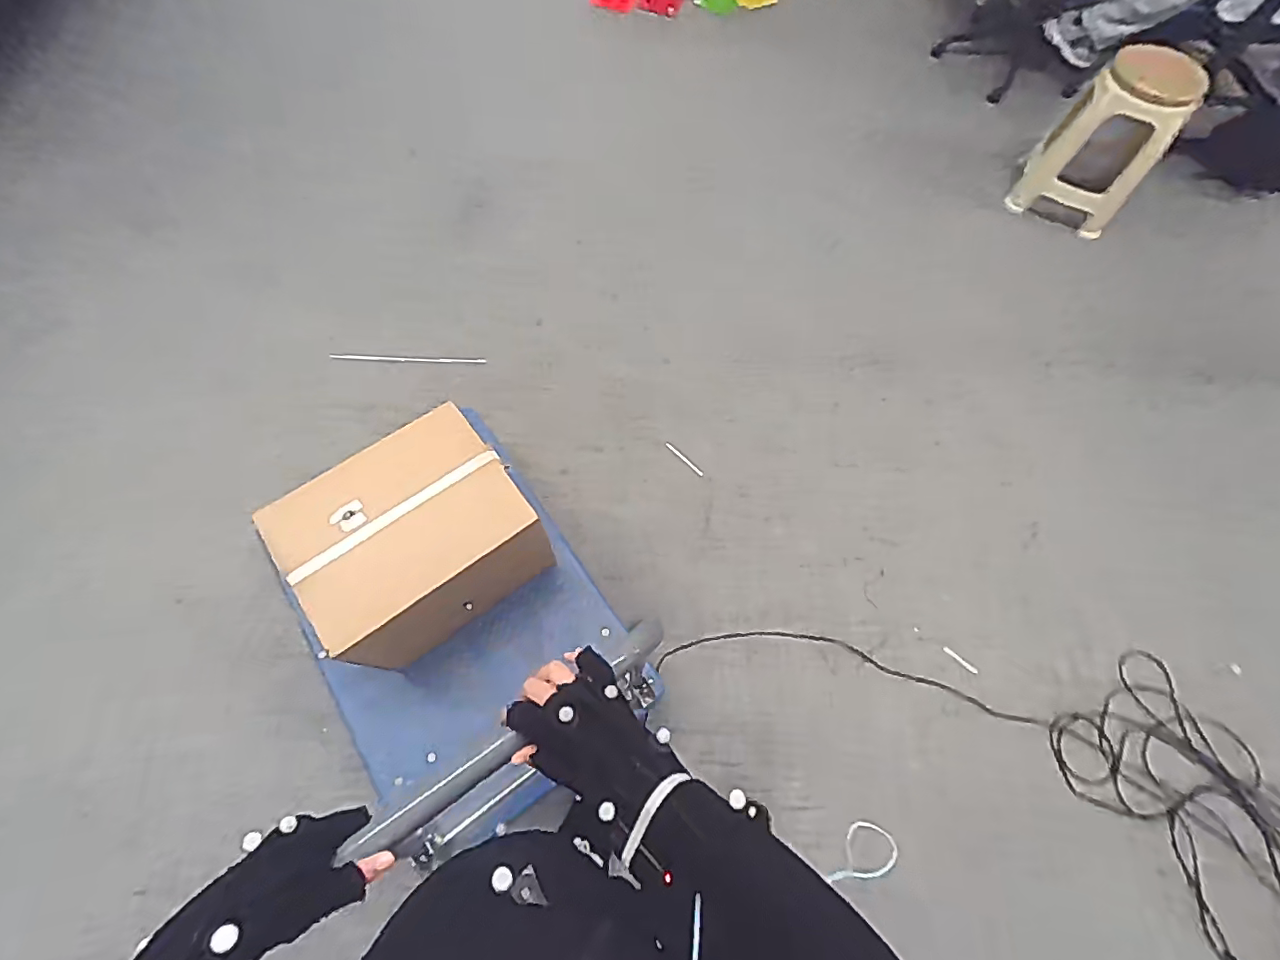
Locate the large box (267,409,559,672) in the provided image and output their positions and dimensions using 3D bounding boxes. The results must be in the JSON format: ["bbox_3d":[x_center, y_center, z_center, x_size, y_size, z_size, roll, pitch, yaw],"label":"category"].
[{"bbox_3d":[-0.426,0.136,1.113,0.408,0.320,0.320,-36,72,-16],"label":"large box"}]
